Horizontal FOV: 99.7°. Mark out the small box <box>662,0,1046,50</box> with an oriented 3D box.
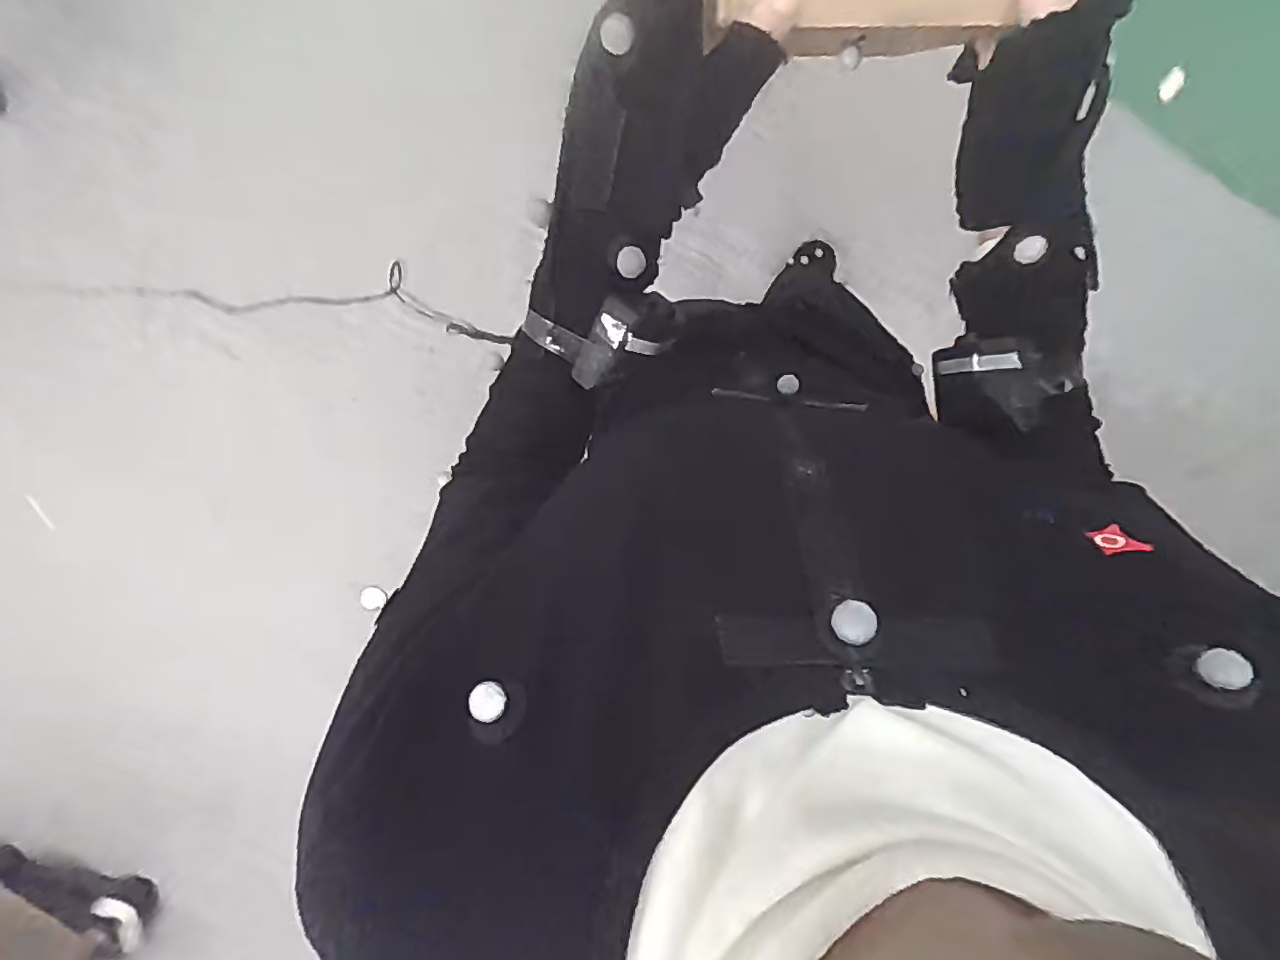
[{"bbox_3d":[0.105,-0.335,0.277,0.179,0.176,0.168,-7,125,-4],"label":"small box"}]
